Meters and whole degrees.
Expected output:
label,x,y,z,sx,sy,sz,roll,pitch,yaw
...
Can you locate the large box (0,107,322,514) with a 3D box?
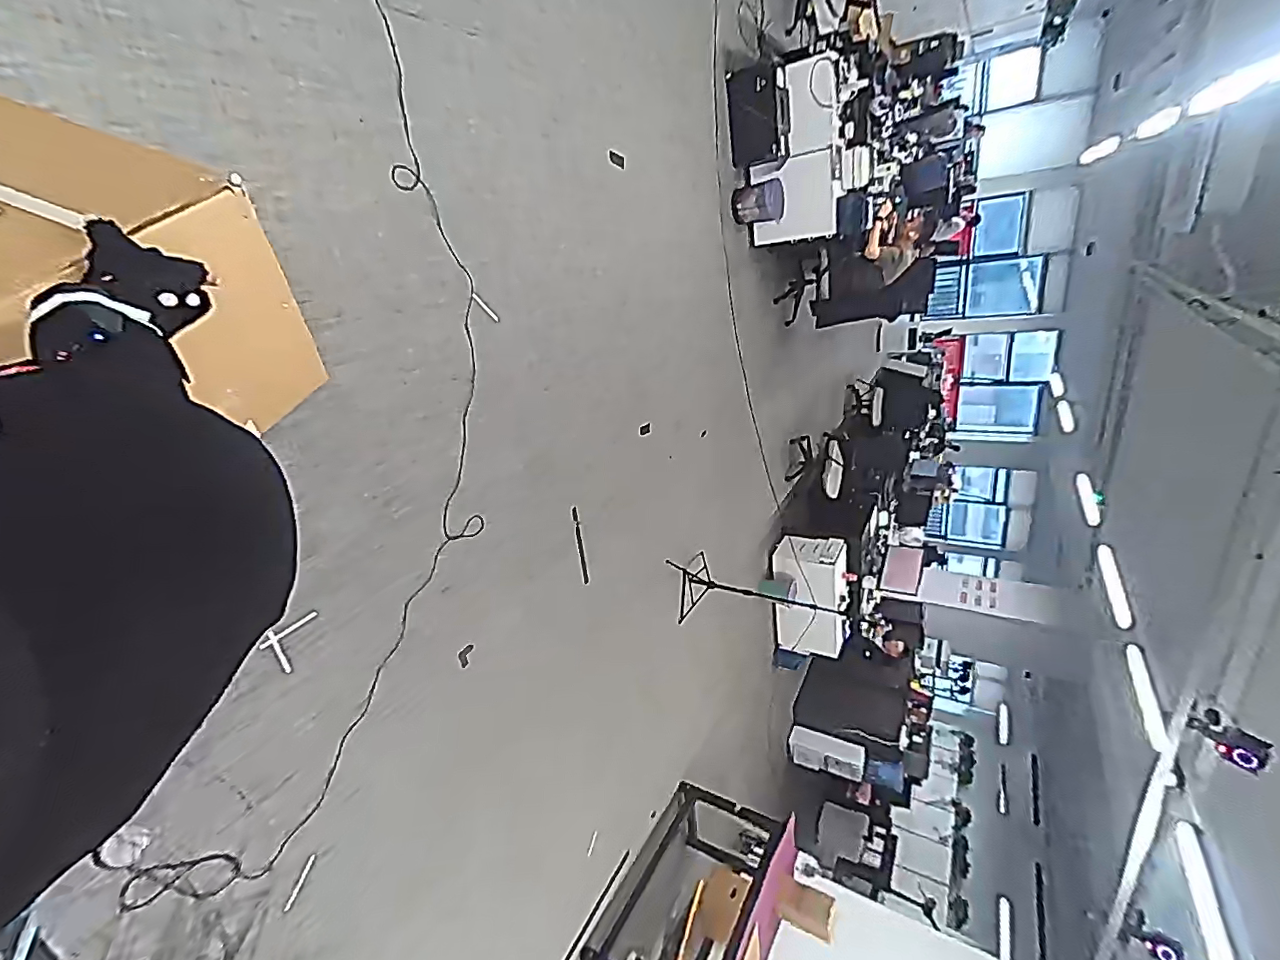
label,x,y,z,sx,sy,sz,roll,pitch,yaw
large box,-0.729,-0.215,0.698,0.320,0.408,0.320,103,10,-54
